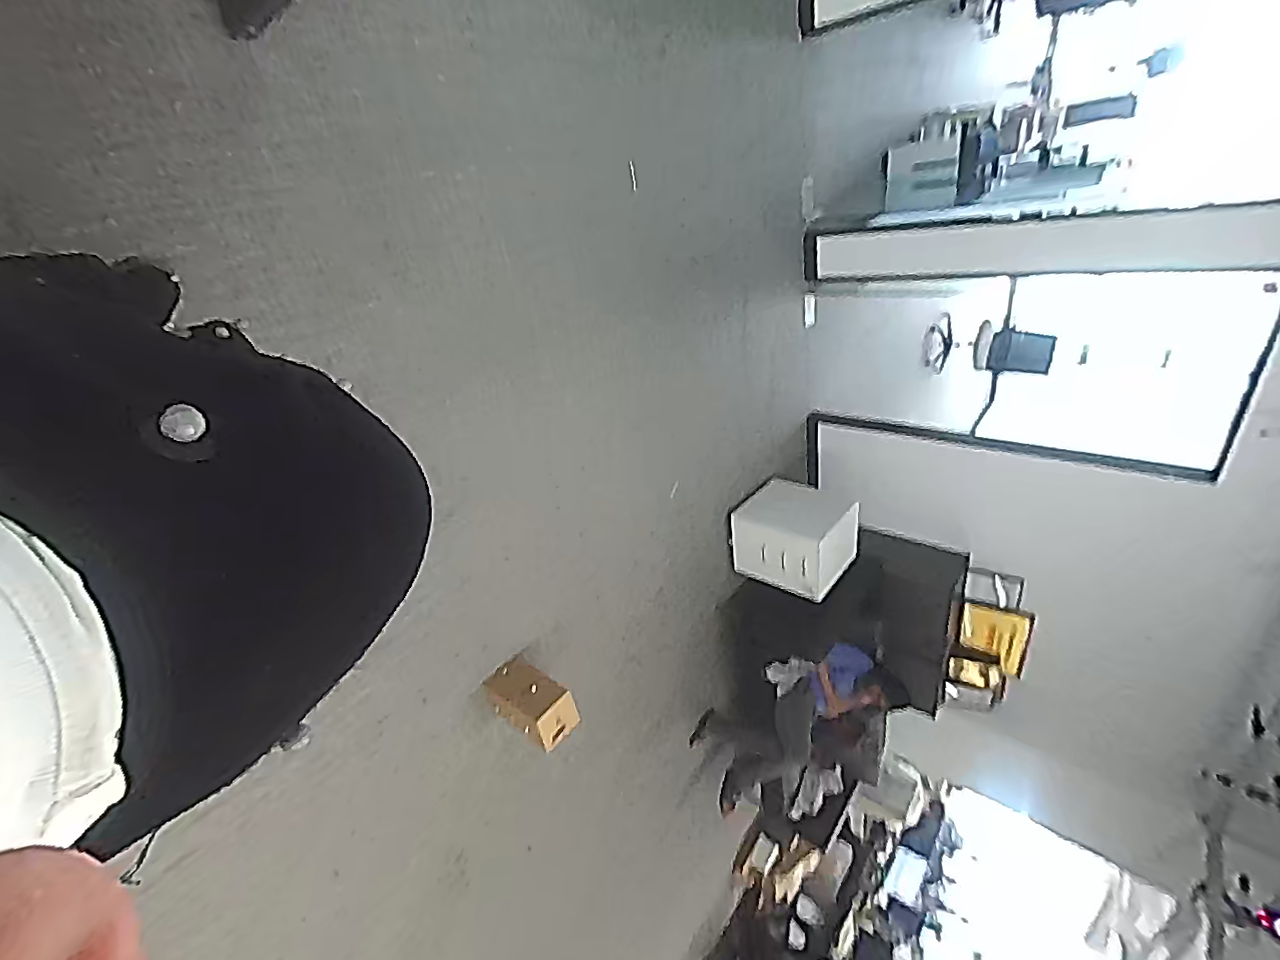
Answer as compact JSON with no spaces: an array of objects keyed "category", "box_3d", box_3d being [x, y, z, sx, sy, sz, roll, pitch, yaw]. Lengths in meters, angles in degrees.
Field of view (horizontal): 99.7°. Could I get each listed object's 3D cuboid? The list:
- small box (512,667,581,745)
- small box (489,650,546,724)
[{"category":"small box","box_3d":[-0.350,0.840,2.026,0.168,0.176,0.179,-37,129,-38]},{"category":"small box","box_3d":[-0.474,0.810,2.132,0.179,0.176,0.168,-36,129,-38]}]
